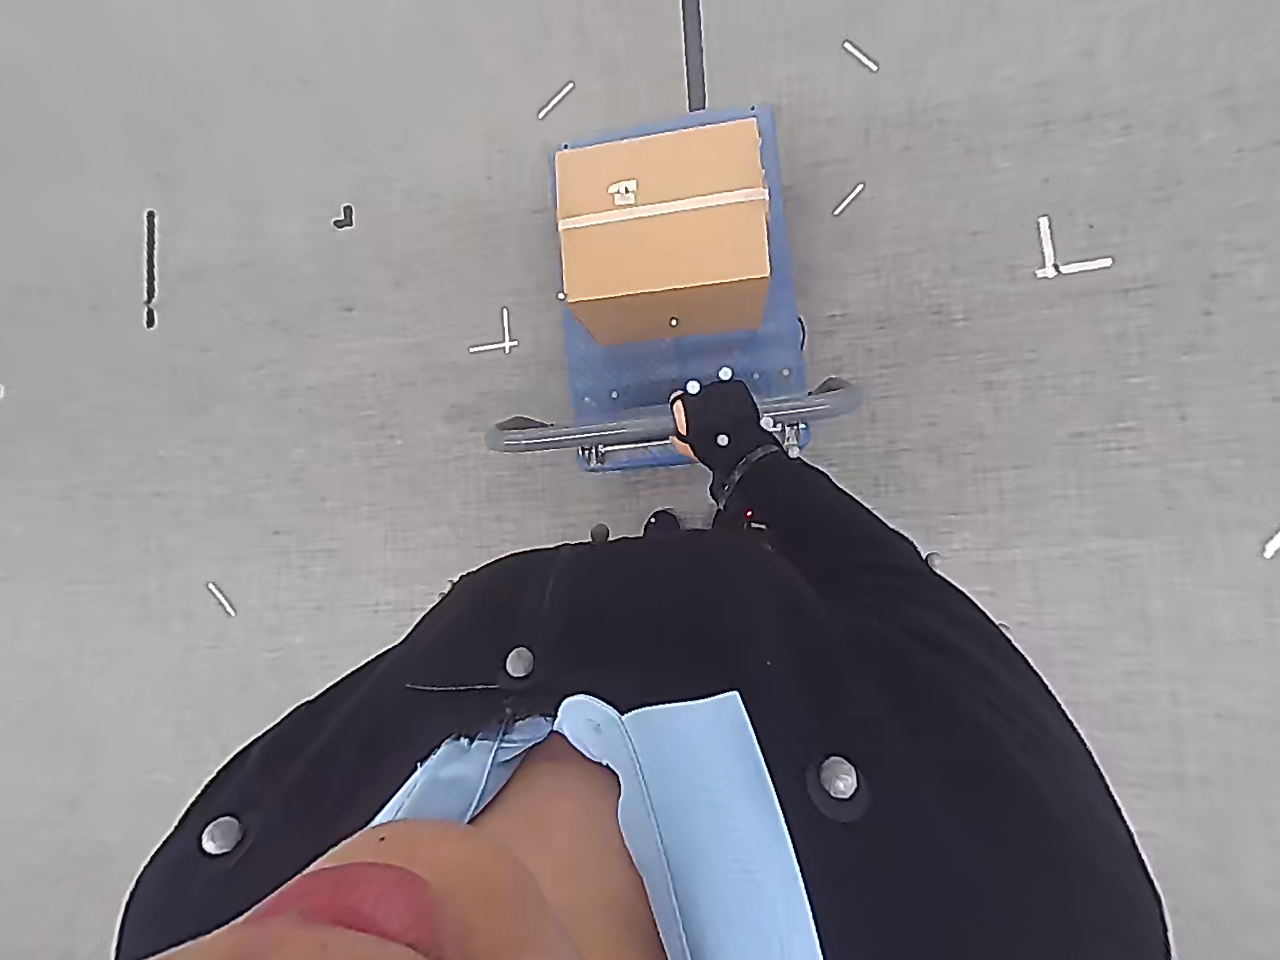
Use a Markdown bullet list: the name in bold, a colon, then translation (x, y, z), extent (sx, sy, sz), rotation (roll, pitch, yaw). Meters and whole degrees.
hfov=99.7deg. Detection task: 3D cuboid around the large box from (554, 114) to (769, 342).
- **large box**: translation (0.060, -0.517, 1.188), extent (0.408, 0.320, 0.320), rotation (-5, 86, 10)
